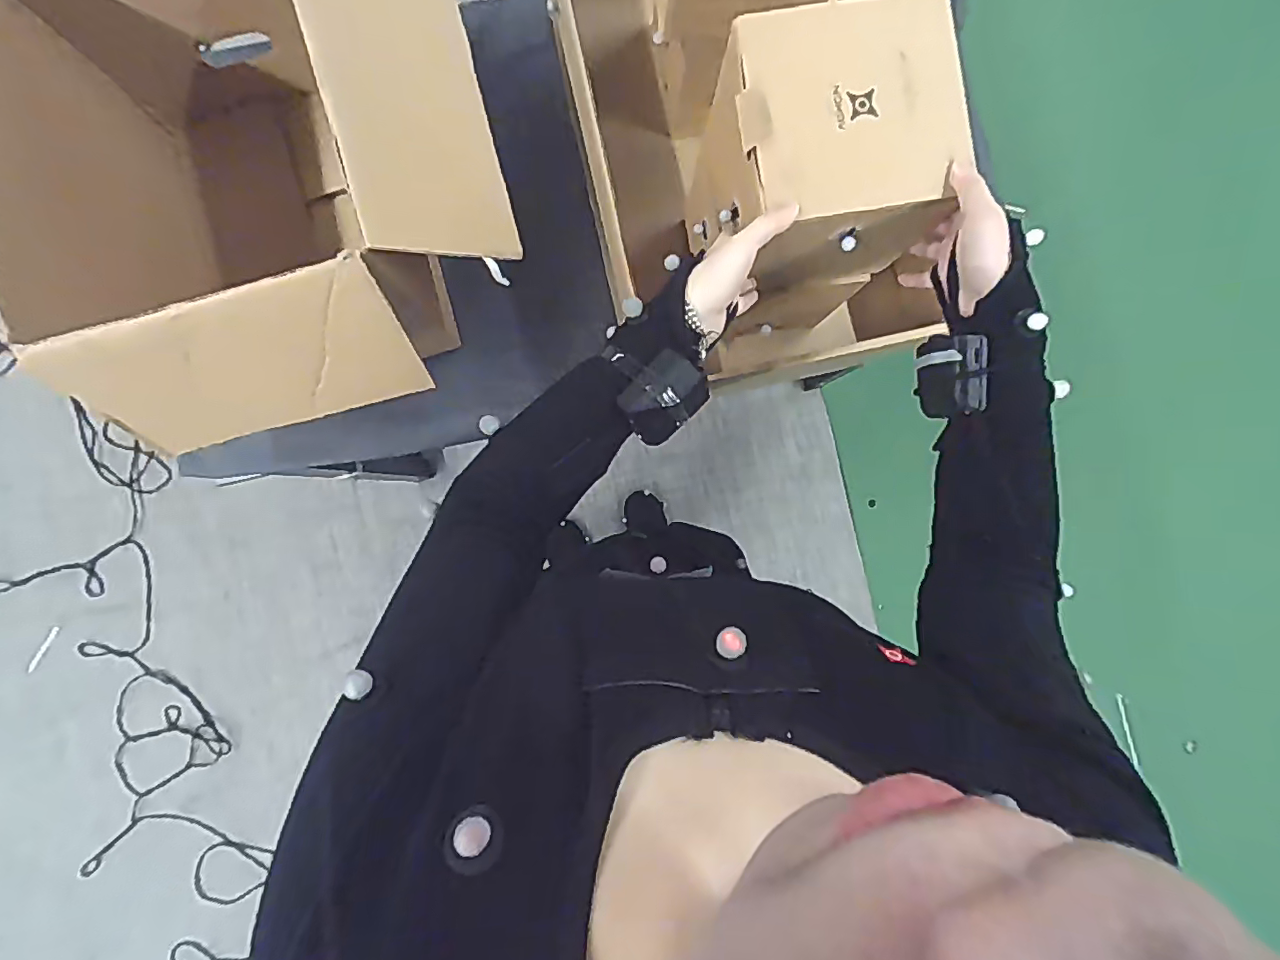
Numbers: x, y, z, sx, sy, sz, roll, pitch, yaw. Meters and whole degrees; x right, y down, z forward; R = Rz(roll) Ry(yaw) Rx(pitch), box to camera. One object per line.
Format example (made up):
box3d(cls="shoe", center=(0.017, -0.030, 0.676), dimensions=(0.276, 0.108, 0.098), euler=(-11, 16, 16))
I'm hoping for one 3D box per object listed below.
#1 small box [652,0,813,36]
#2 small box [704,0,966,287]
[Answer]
box3d(cls="small box", center=(0.098, -0.566, 0.511), dimensions=(0.179, 0.176, 0.168), euler=(-6, 90, -4))
box3d(cls="small box", center=(0.163, -0.299, 0.514), dimensions=(0.179, 0.176, 0.168), euler=(-10, 92, -4))
